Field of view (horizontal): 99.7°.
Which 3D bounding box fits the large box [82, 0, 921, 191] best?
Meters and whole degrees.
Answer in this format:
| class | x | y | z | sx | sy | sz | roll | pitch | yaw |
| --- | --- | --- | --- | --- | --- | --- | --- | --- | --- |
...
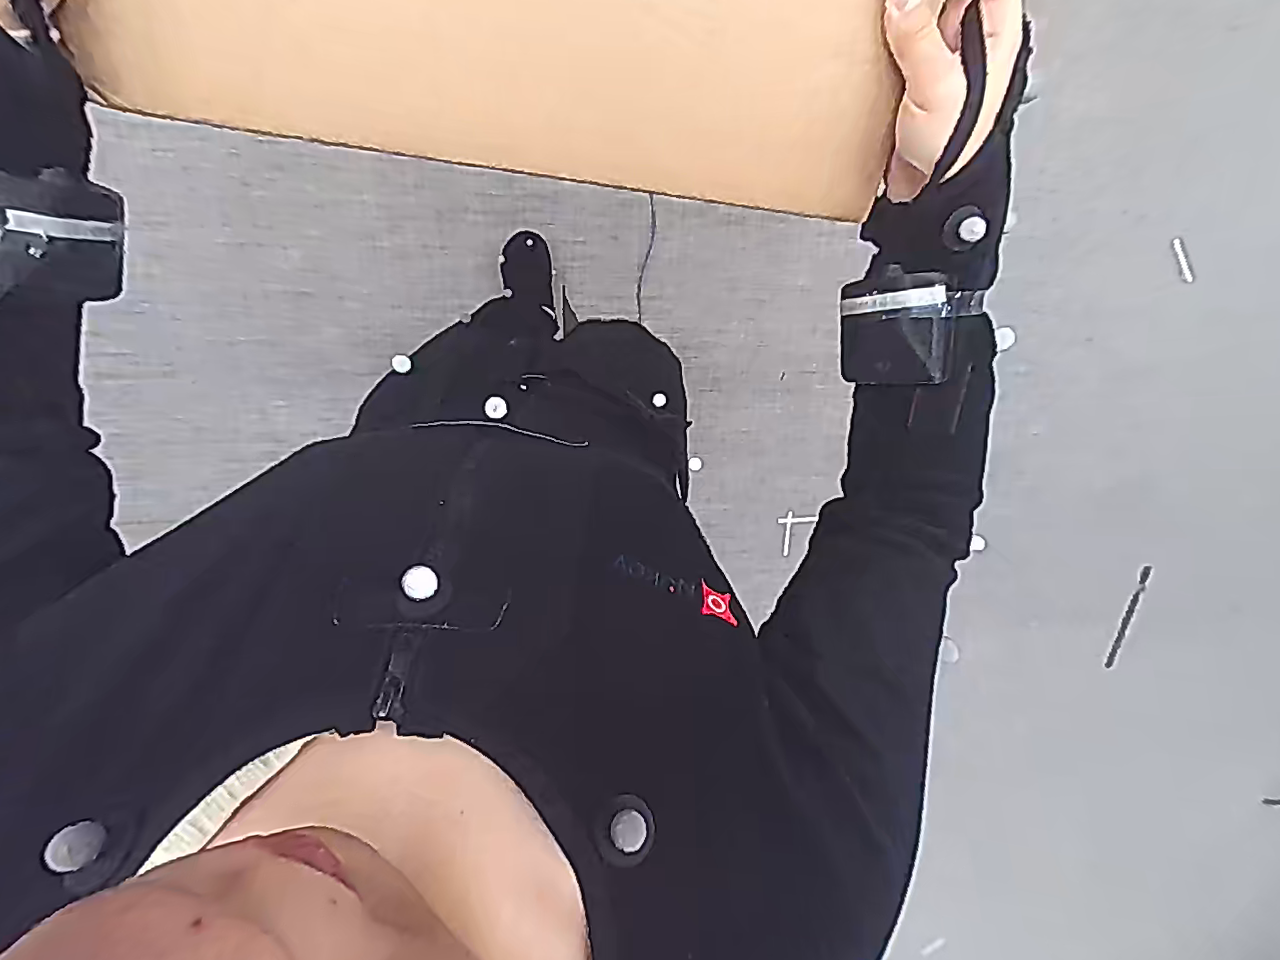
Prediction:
| class | x | y | z | sx | sy | sz | roll | pitch | yaw |
| --- | --- | --- | --- | --- | --- | --- | --- | --- | --- |
| large box | -0.060 | -0.392 | 0.332 | 0.408 | 0.320 | 0.320 | 3 | 125 | -10 |
